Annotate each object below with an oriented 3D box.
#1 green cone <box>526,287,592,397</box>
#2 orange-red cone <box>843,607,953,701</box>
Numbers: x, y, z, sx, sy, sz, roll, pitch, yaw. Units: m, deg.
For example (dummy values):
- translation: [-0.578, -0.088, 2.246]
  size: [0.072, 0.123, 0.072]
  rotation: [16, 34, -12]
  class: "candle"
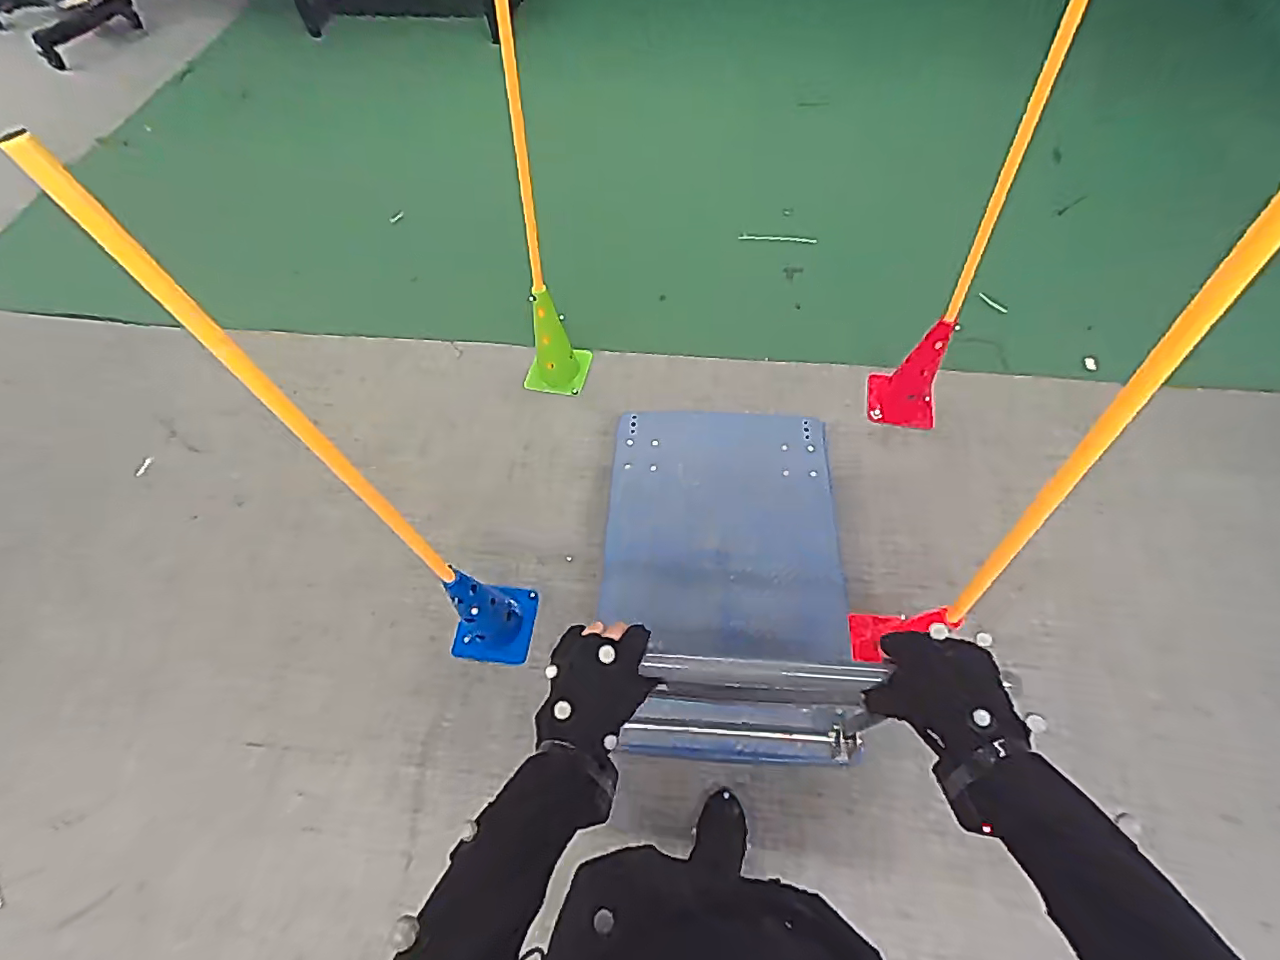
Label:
- translation: [-0.287, -0.462, 1.729]
  size: [0.202, 0.368, 0.200]
  rotation: [8, 60, 8]
  class: "green cone"
- translation: [0.610, 0.361, 1.221]
  size: [0.199, 0.360, 0.198]
  rotation: [4, 60, 6]
  class: "orange-red cone"
